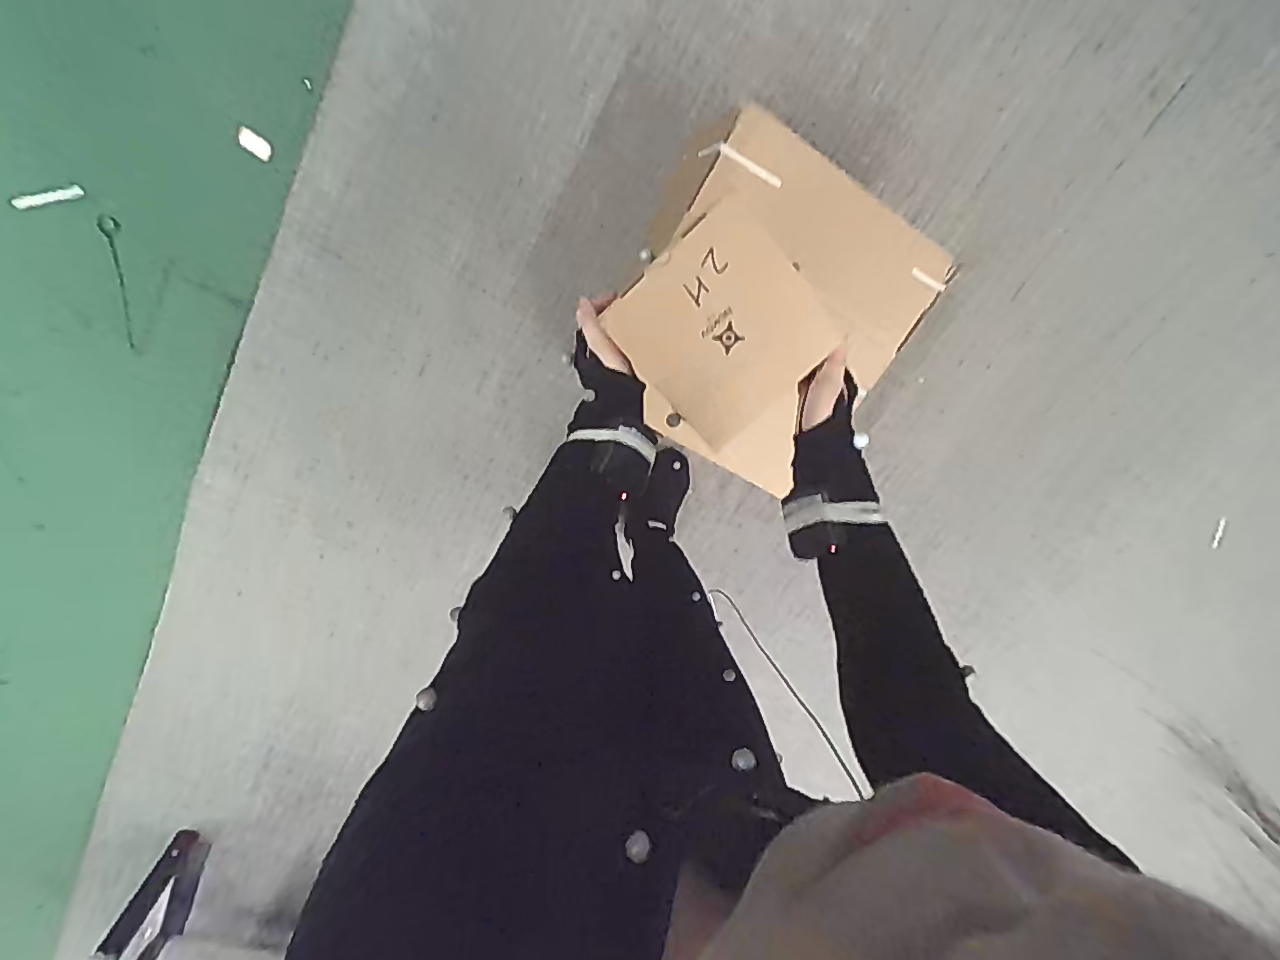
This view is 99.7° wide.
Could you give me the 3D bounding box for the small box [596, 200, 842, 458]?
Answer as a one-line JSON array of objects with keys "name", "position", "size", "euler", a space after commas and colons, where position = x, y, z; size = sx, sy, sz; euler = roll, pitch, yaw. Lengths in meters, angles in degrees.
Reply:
[{"name": "small box", "position": [0.072, -0.157, 0.573], "size": [0.168, 0.176, 0.179], "euler": [-40, 106, 9]}]
